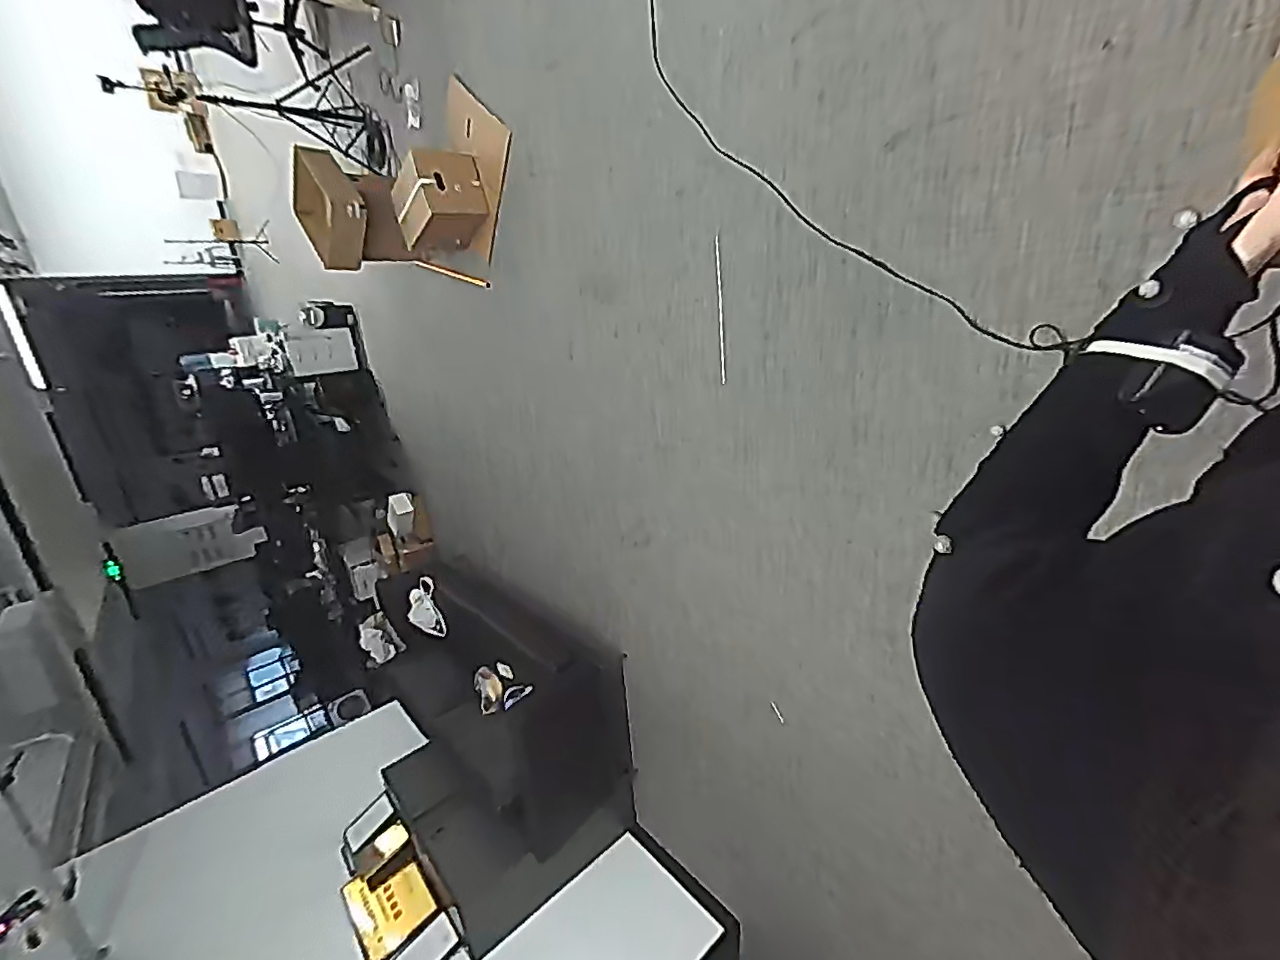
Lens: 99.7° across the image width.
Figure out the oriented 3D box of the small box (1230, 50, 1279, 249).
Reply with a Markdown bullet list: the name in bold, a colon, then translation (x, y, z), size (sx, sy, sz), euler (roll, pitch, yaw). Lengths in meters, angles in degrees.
- **small box**: translation (0.562, -0.276, 0.370), size (0.168, 0.176, 0.179), euler (13, 83, 30)
